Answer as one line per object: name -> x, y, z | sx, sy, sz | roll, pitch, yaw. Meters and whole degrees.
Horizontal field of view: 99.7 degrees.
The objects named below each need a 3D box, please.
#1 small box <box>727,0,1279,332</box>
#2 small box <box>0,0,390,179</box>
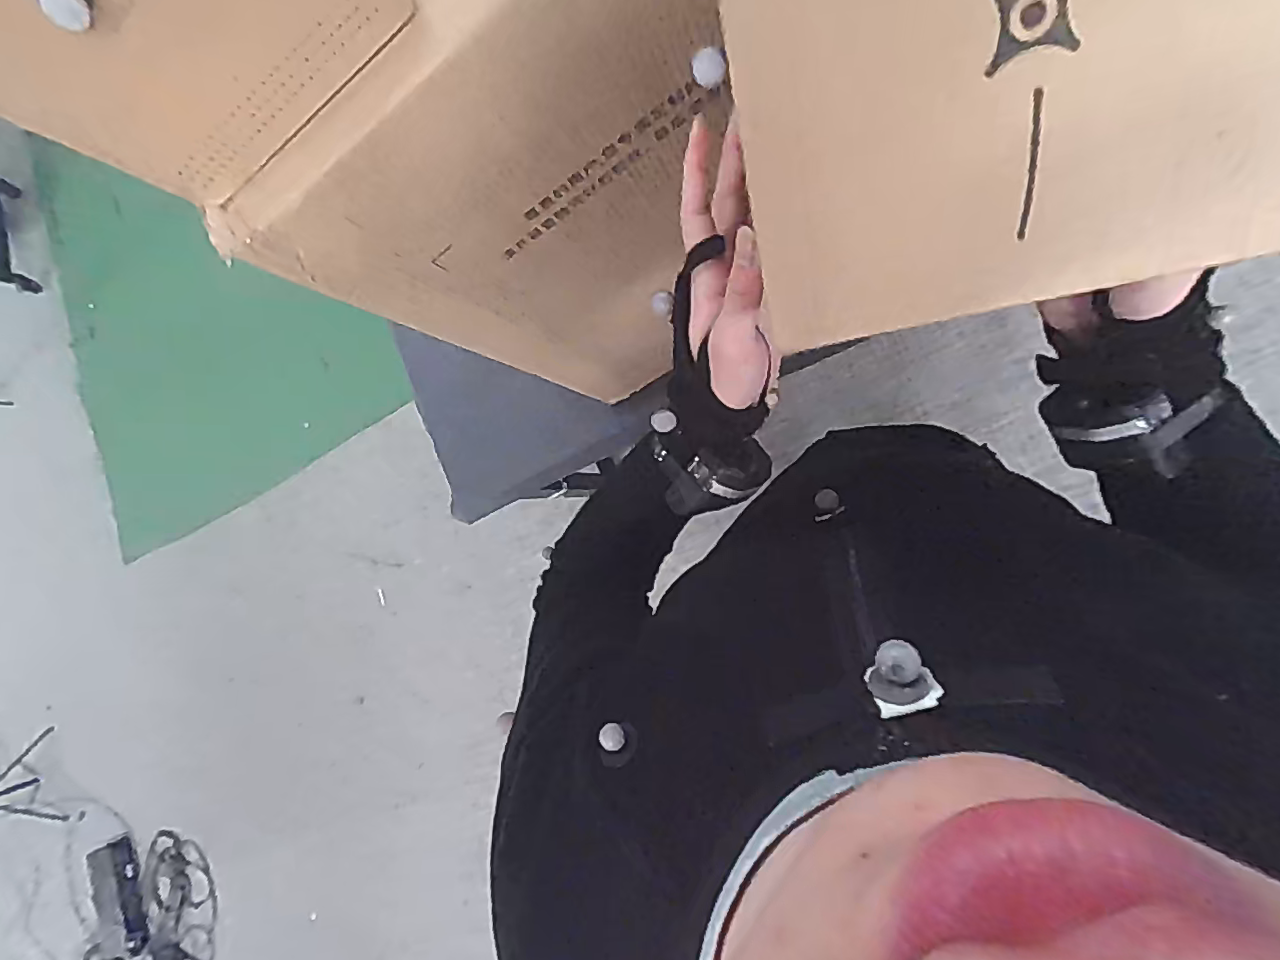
small box -> 0.123, -0.177, 0.216 | 0.168, 0.176, 0.179 | -7, 117, 17
small box -> -0.249, -0.284, 0.244 | 0.179, 0.176, 0.168 | -28, 81, 20
